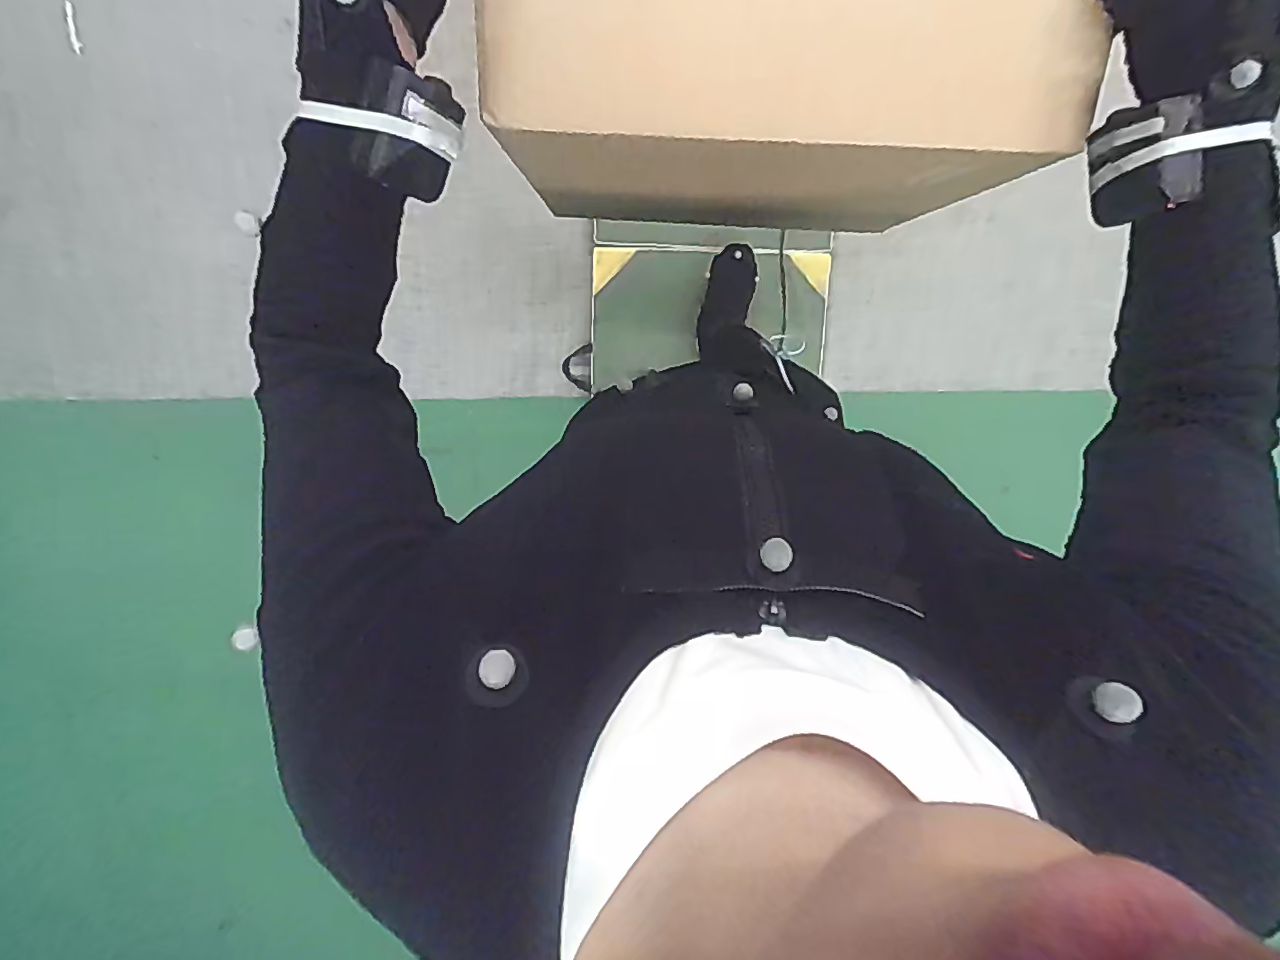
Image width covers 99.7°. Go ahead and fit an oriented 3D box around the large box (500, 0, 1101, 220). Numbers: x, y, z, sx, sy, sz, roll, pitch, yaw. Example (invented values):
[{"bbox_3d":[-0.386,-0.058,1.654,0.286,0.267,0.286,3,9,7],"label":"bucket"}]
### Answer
[{"bbox_3d":[0.103,-0.427,0.476,0.408,0.320,0.320,1,106,-2],"label":"large box"}]
